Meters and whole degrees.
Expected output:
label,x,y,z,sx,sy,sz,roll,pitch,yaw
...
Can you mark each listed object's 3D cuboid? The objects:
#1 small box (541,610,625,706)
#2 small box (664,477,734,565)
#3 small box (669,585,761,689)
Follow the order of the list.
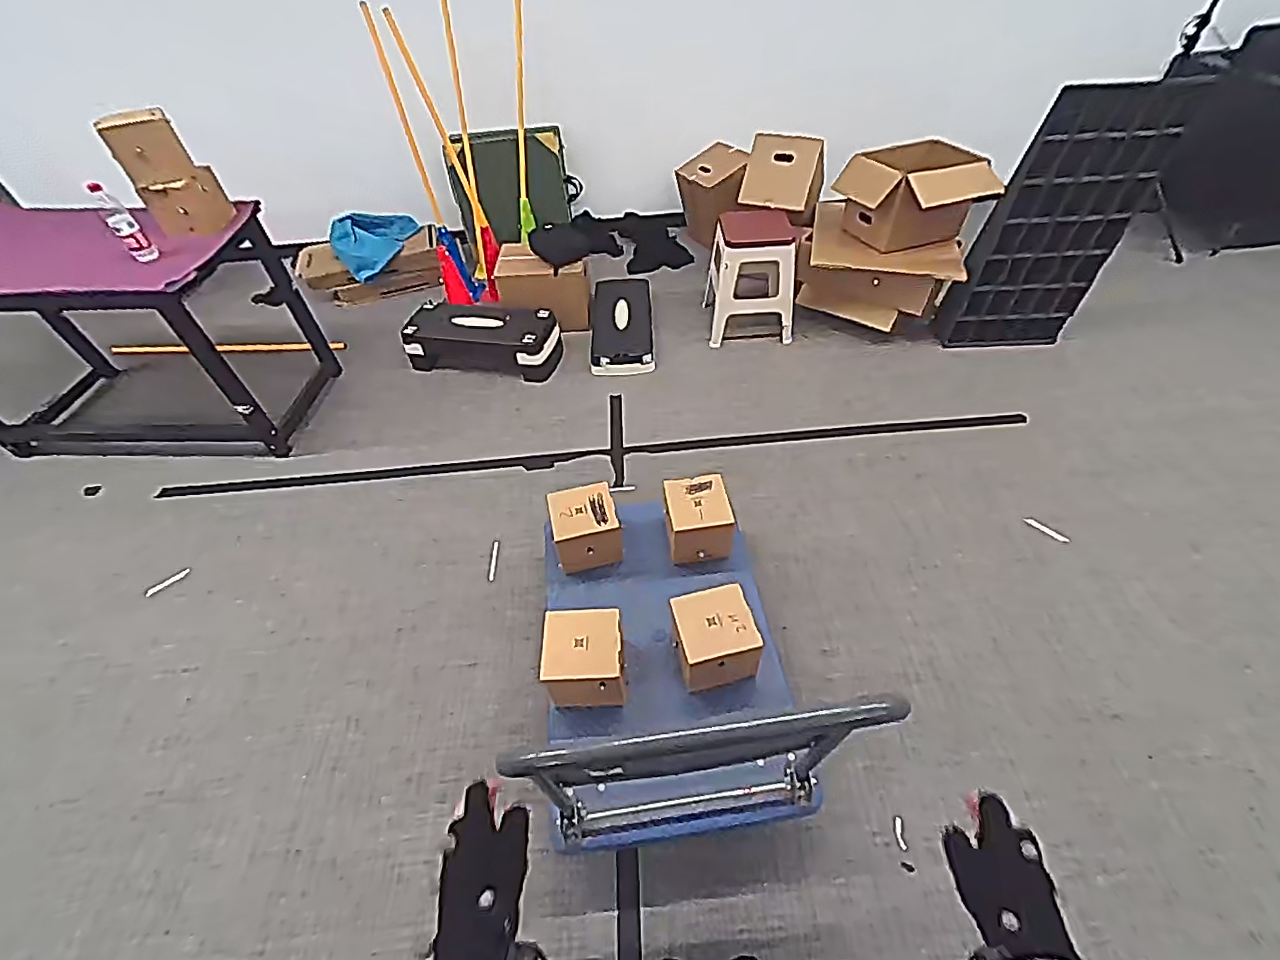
label,x,y,z,sx,sy,sz,roll,pitch,yaw
small box,-0.128,0.424,1.280,0.179,0.176,0.168,-2,49,0
small box,0.160,0.116,1.530,0.168,0.176,0.179,-8,50,-3
small box,0.175,0.381,1.296,0.179,0.176,0.168,-12,49,-6
